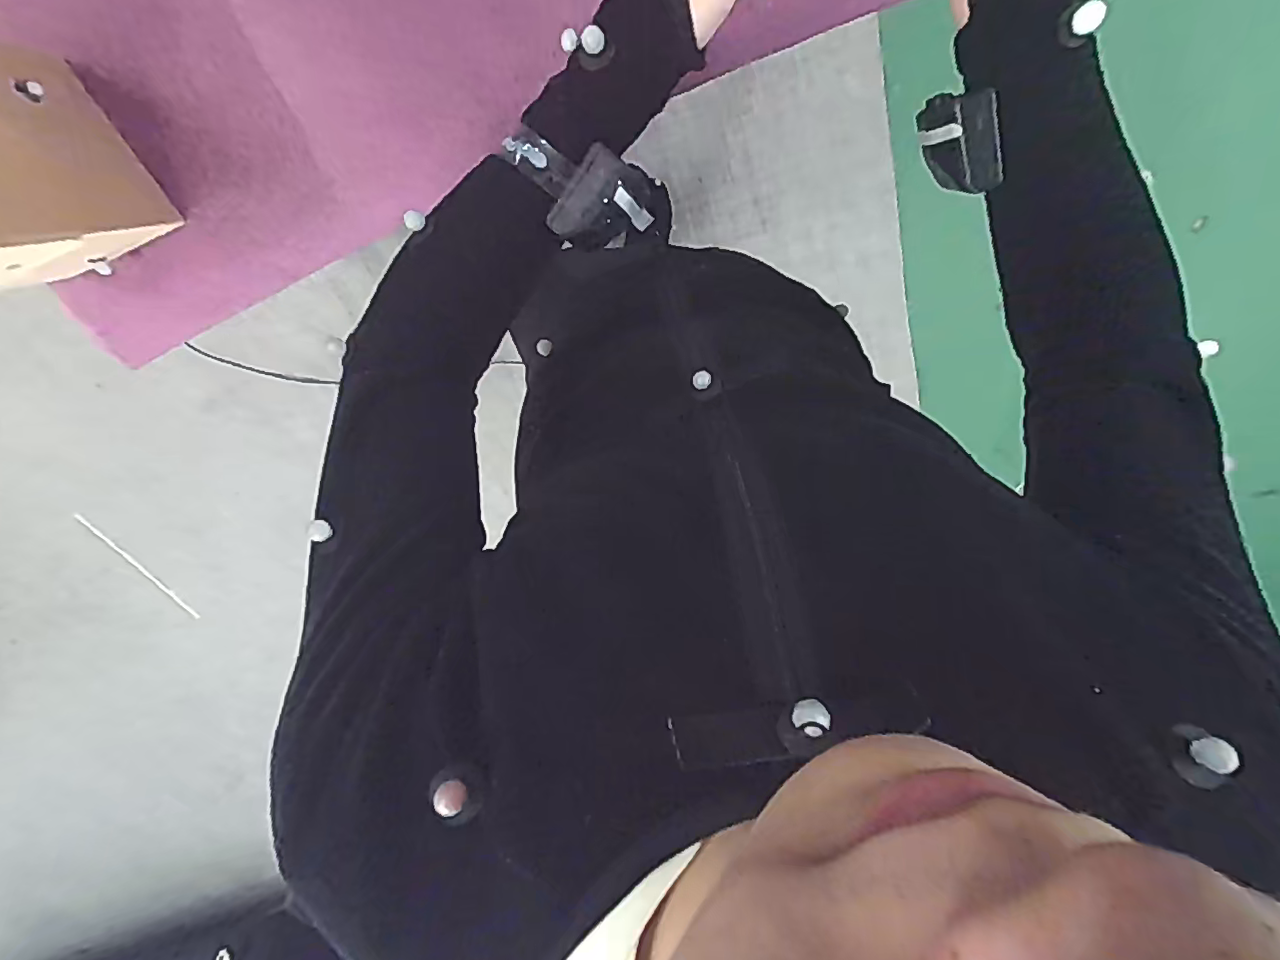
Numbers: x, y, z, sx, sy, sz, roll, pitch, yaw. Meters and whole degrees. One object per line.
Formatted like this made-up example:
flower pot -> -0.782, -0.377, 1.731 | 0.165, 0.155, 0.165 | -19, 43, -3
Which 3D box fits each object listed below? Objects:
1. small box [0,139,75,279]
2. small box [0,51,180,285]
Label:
small box -> -0.634, -0.233, 0.424 | 0.168, 0.176, 0.179 | -20, 118, 6
small box -> -0.656, -0.317, 0.561 | 0.168, 0.176, 0.179 | -21, 119, 6
